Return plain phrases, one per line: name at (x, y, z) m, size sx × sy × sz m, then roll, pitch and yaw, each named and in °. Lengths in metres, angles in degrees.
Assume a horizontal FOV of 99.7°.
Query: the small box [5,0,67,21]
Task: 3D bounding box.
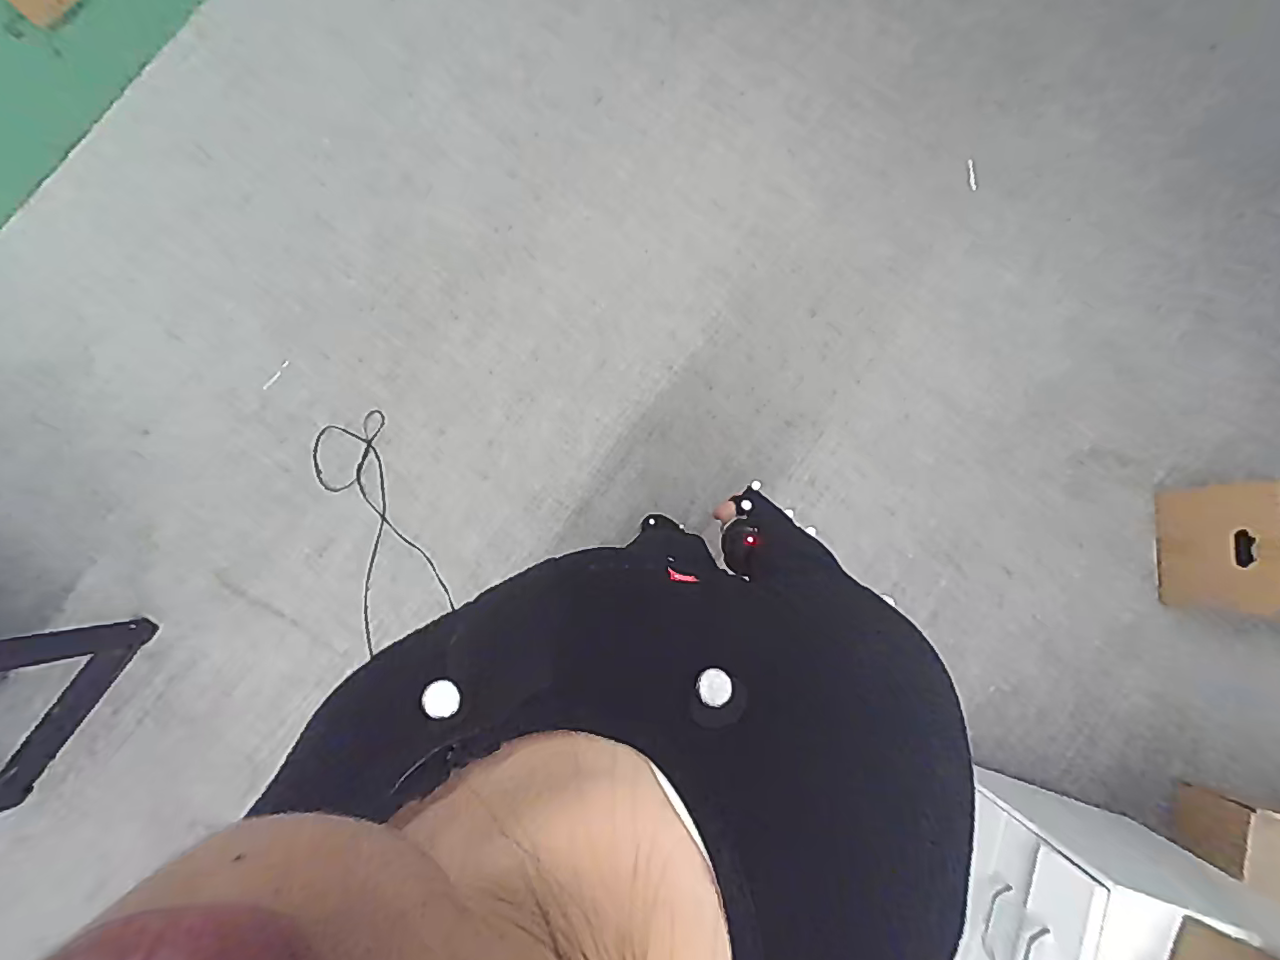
small box at (-1.916, -1.561, 1.646) m, size 0.179 × 0.176 × 0.168 m, roll 44°, pitch 85°, yaw 5°
